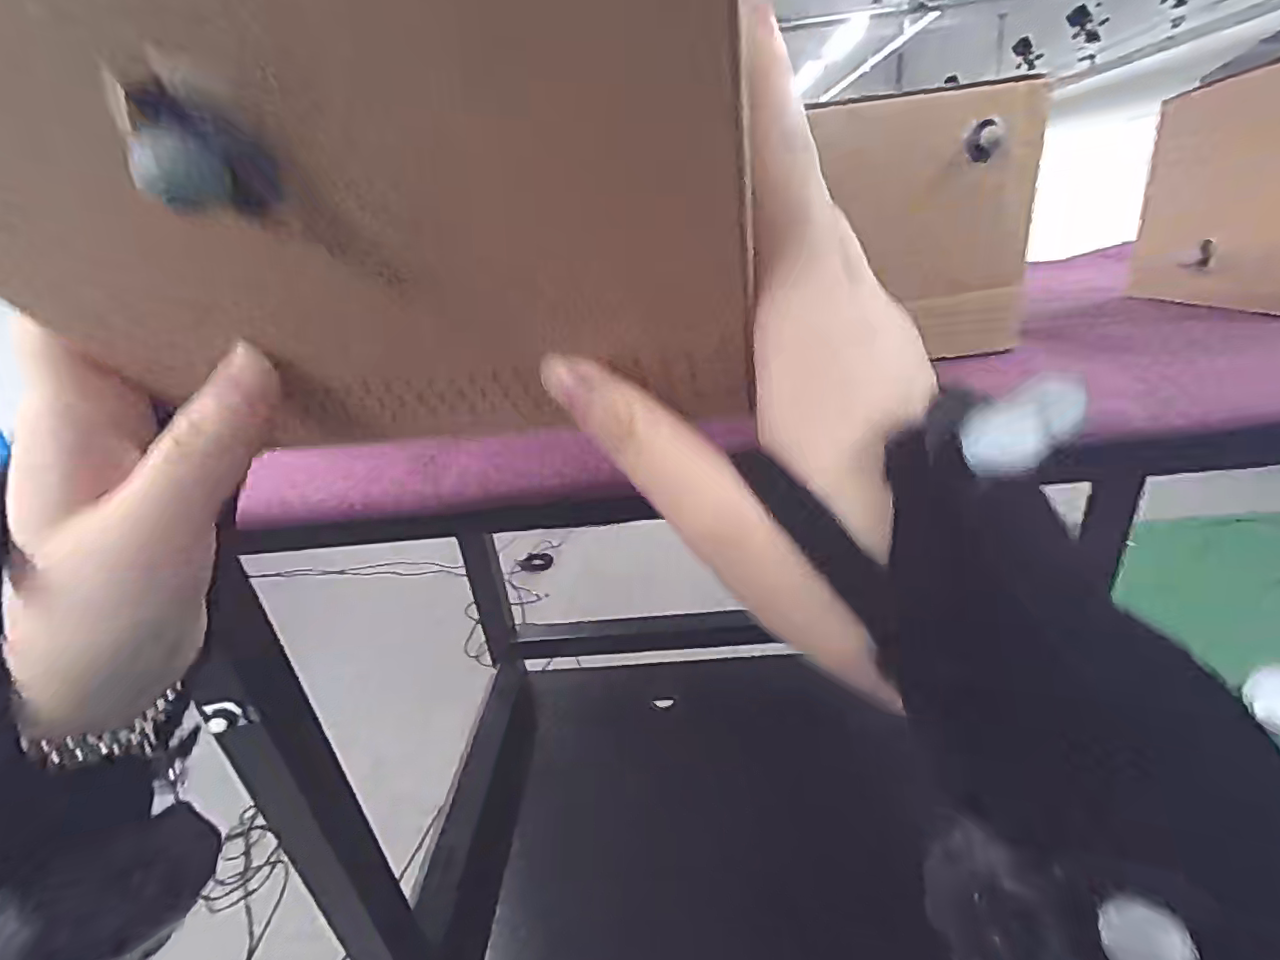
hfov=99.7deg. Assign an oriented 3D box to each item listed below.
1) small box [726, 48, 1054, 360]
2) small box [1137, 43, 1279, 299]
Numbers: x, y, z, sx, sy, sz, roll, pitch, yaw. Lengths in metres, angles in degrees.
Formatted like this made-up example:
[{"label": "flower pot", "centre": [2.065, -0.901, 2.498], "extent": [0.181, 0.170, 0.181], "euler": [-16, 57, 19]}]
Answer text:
[{"label": "small box", "centre": [0.168, -0.193, 0.420], "extent": [0.179, 0.176, 0.168], "euler": [-5, 23, 3]}, {"label": "small box", "centre": [0.527, -0.233, 0.398], "extent": [0.168, 0.176, 0.179], "euler": [-4, 23, 11]}]
